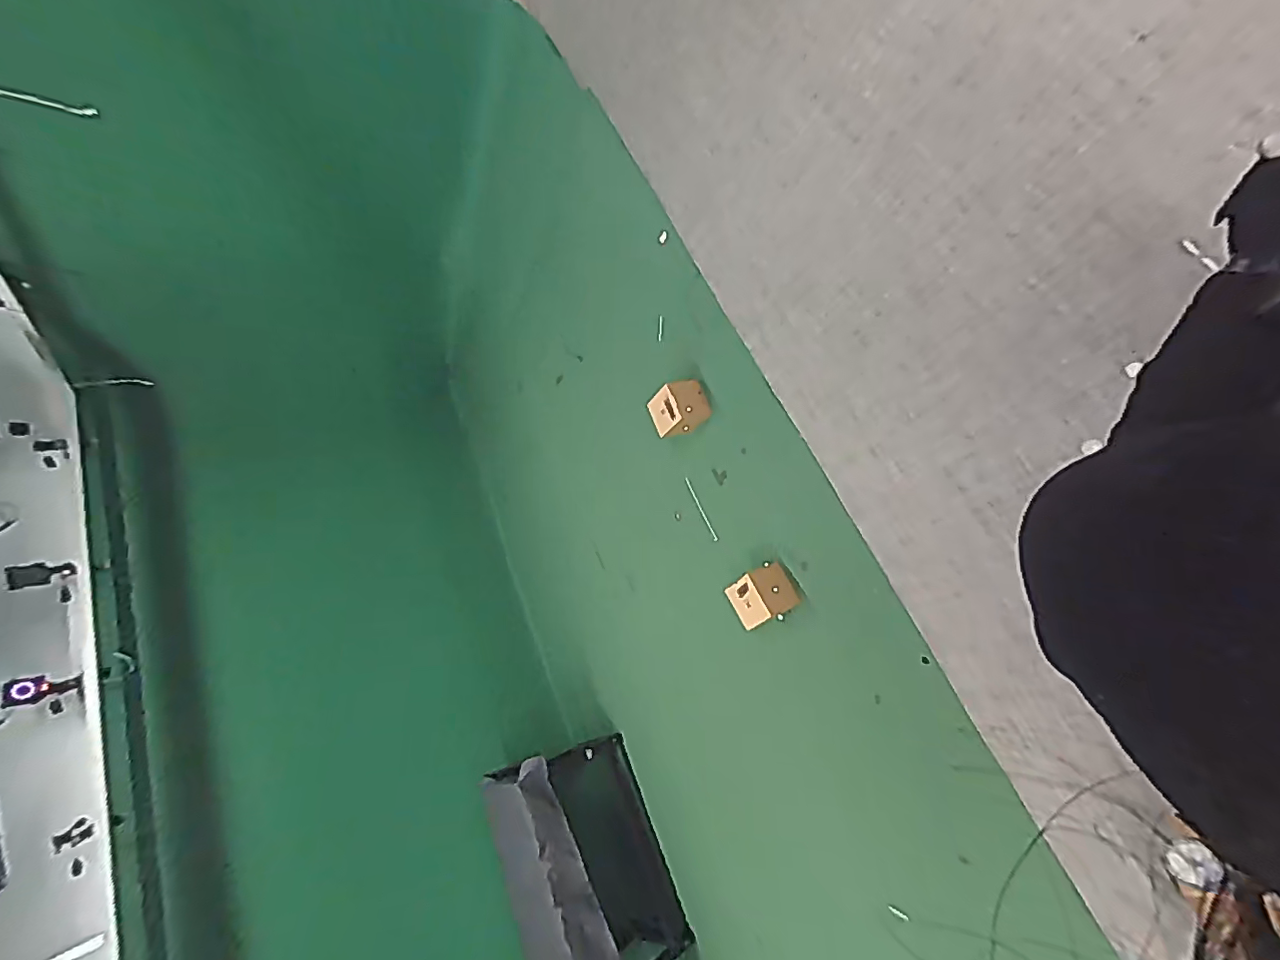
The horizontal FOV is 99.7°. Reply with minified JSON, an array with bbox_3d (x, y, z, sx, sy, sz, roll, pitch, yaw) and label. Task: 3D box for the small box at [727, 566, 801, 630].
[{"bbox_3d":[0.470,0.441,2.053,0.179,0.176,0.168,62,143,20],"label":"small box"}]
